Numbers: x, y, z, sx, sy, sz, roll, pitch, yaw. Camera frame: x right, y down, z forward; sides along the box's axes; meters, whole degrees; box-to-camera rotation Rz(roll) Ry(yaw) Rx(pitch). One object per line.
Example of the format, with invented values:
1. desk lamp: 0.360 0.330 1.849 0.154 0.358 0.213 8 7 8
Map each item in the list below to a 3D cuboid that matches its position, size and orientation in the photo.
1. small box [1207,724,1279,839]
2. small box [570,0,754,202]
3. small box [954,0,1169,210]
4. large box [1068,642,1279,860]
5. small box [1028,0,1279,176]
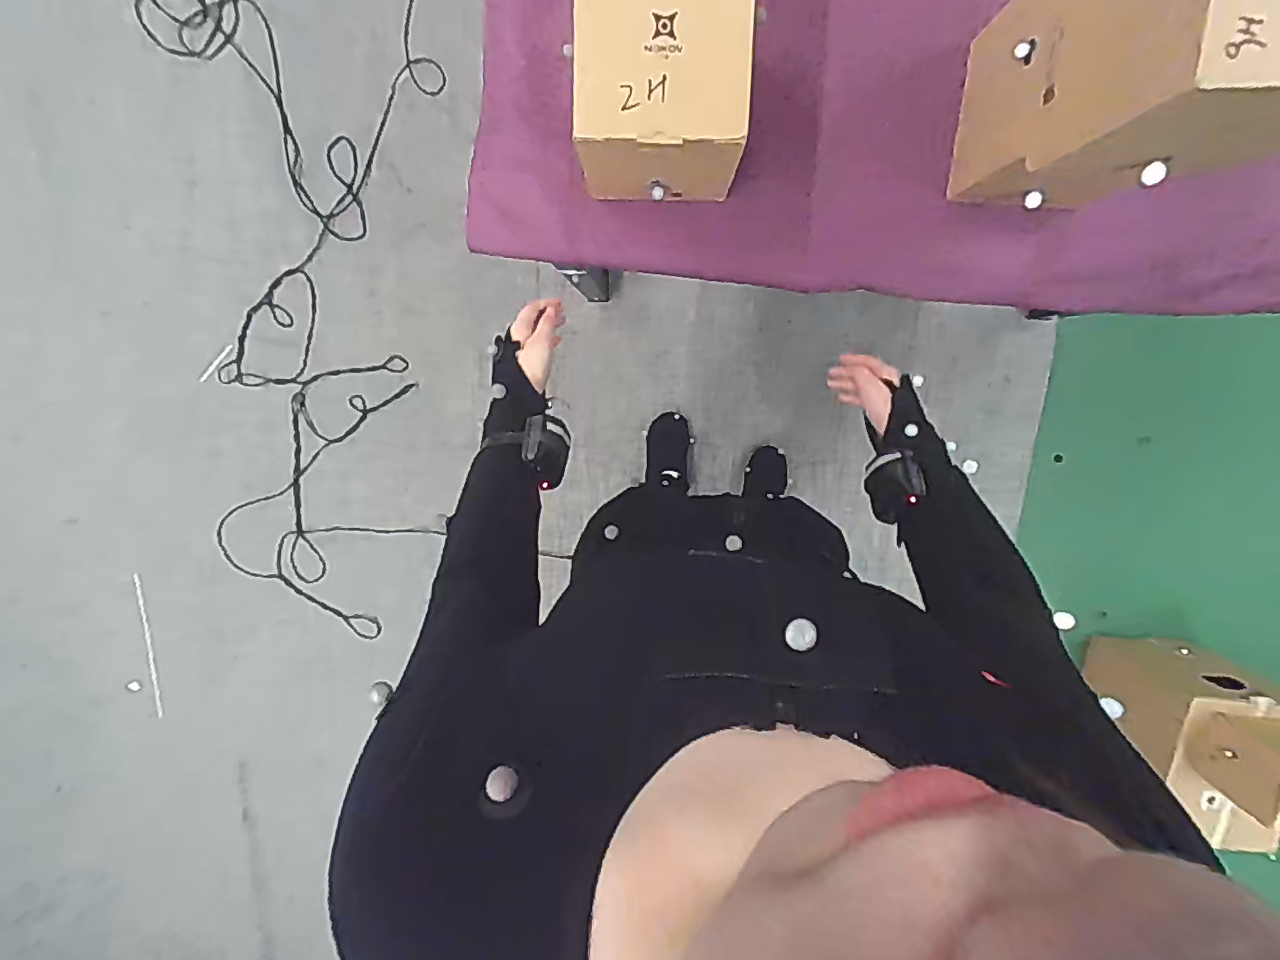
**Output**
1. small box: 1.396 0.647 1.151 0.179 0.176 0.168 7 102 2
2. small box: 0.021 -0.414 0.565 0.168 0.176 0.179 2 101 2
3. small box: 0.456 -0.401 0.555 0.168 0.176 0.179 4 101 1
4. large box: 1.412 0.679 1.405 0.320 0.320 0.408 5 102 2
5. small box: 0.441 -0.343 0.400 0.179 0.176 0.168 1 101 2
